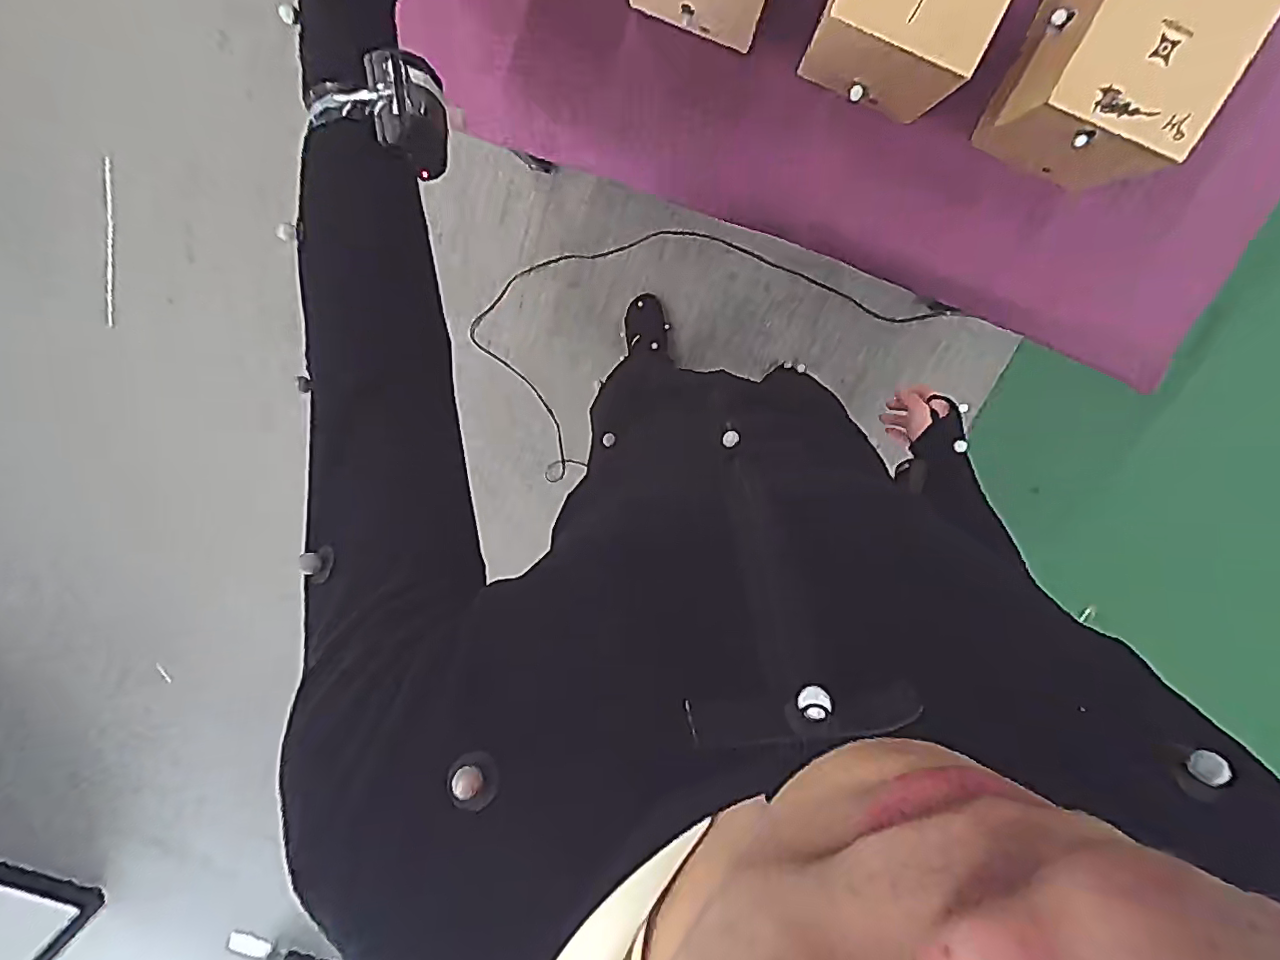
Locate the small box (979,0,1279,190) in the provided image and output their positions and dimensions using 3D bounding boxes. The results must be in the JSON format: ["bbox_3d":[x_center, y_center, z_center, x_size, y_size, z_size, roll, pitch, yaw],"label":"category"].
[{"bbox_3d":[0.536,-0.463,0.615,0.168,0.176,0.179,22,109,-3],"label":"small box"}]

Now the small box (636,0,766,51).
[{"bbox_3d":[0.086,-0.630,0.593,0.168,0.176,0.179,21,110,-3],"label":"small box"}]
